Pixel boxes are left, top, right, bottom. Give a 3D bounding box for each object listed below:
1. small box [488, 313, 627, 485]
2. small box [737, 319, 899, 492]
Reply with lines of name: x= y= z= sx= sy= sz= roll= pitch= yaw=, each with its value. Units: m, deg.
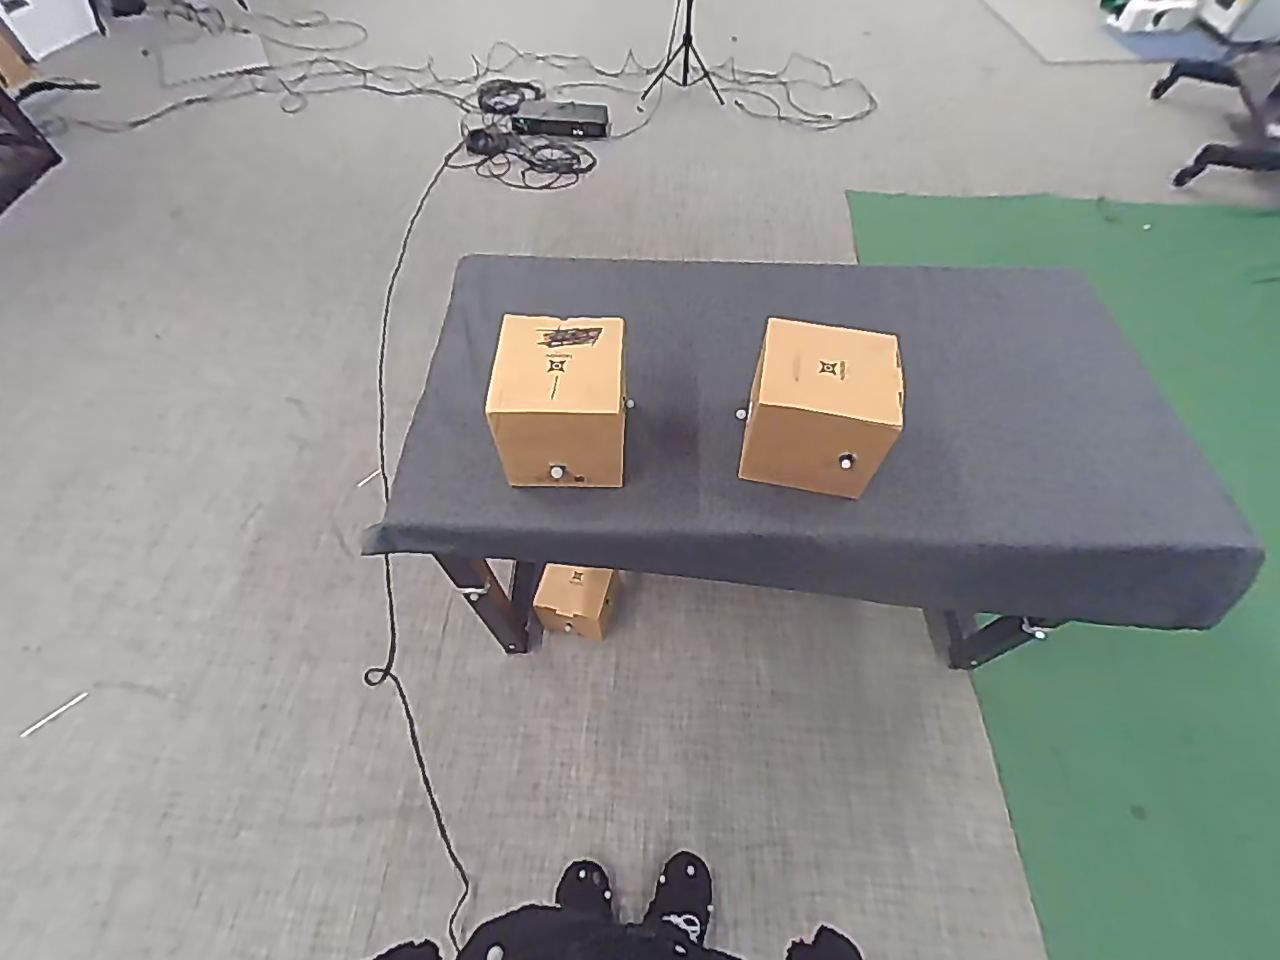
small box: x=-0.104 y=-0.112 z=0.767 sx=0.168 sy=0.176 sz=0.179 roll=1 pitch=57 yaw=-1
small box: x=0.245 y=-0.100 z=0.771 sx=0.179 sy=0.176 sz=0.168 roll=10 pitch=56 yaw=6
